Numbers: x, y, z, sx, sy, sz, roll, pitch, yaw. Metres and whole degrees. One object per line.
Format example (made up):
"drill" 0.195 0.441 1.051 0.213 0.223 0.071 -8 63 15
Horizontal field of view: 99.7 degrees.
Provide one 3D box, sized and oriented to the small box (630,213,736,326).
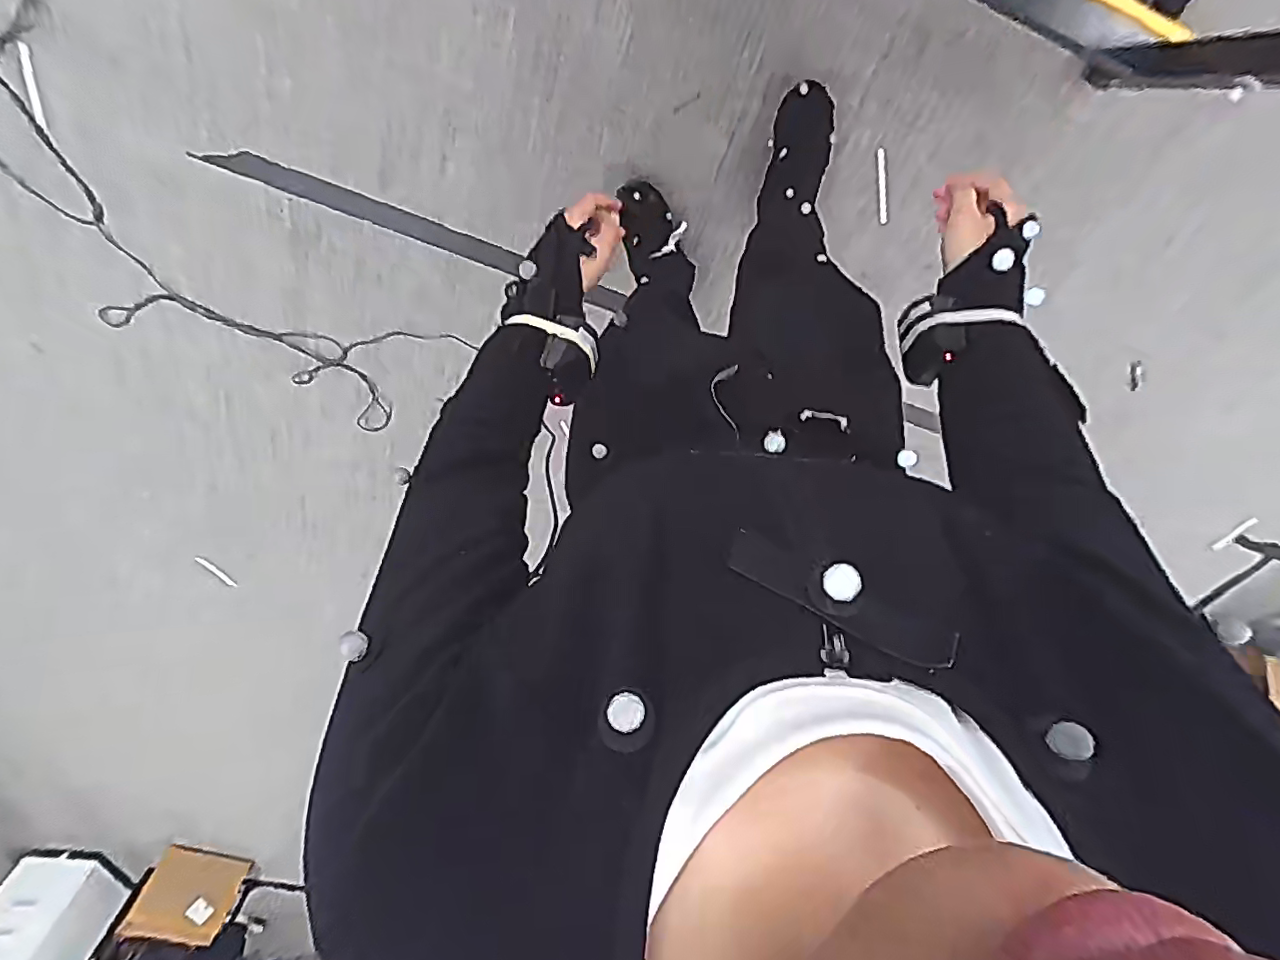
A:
"small box" 0.085 -0.428 1.102 0.179 0.176 0.168 -13 122 6
